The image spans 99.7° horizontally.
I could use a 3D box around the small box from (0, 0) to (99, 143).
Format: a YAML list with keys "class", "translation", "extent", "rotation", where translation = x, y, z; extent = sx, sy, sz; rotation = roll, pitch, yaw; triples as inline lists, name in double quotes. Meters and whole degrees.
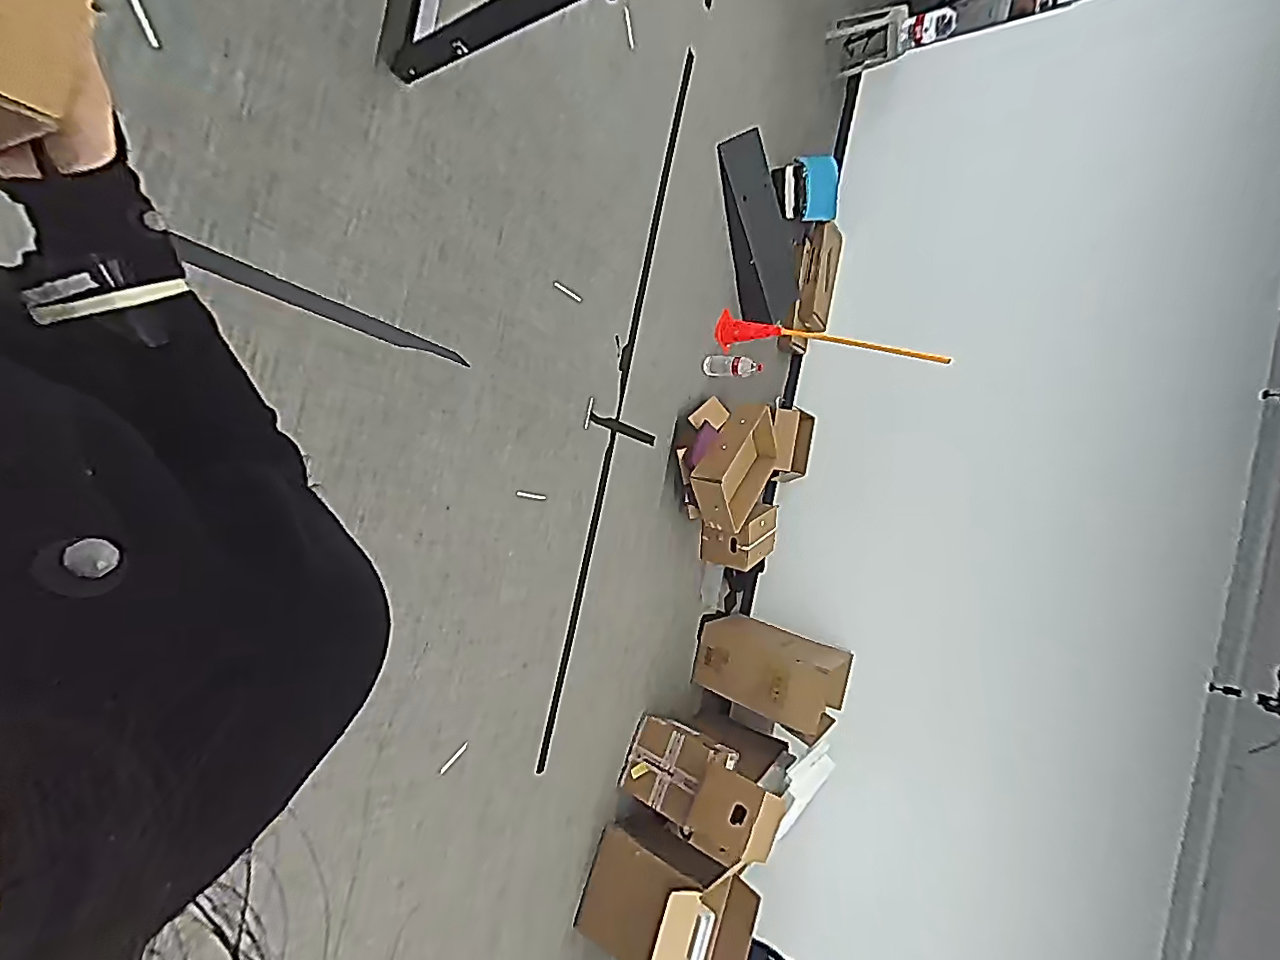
- class: "small box"
  translation: [-0.330, -0.258, 0.203]
  extent: [0.168, 0.176, 0.179]
  rotation: [13, 91, -60]
